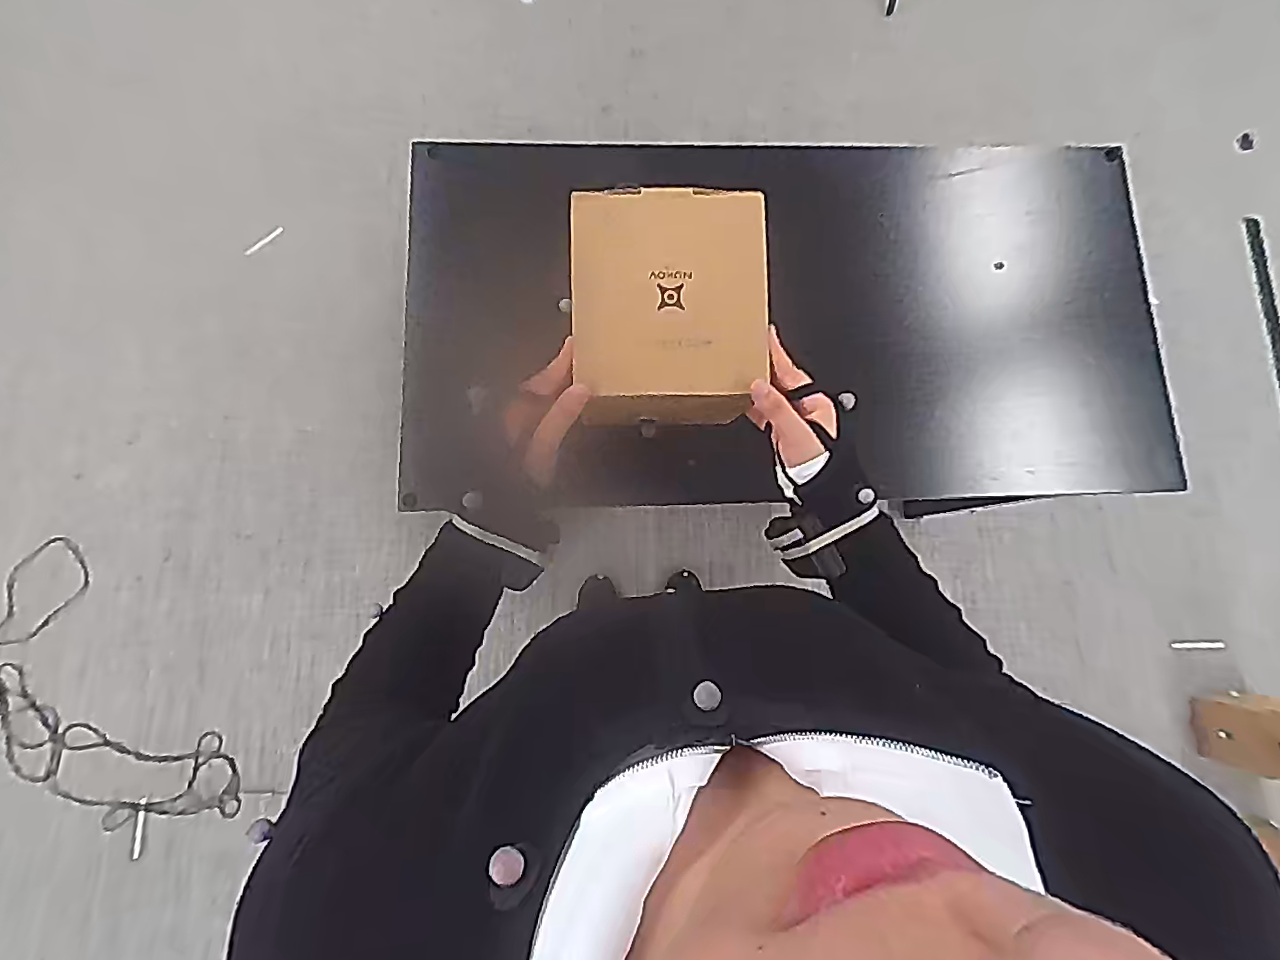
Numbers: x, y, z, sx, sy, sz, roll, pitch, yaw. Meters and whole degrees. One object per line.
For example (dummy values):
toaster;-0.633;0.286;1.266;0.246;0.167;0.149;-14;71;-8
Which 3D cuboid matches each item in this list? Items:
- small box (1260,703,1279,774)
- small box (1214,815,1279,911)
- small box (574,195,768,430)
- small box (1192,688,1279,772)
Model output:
small box;1.642;0.633;1.273;0.179;0.176;0.168;4;81;-2
small box;1.642;0.988;1.388;0.168;0.176;0.179;2;83;-2
small box;0.022;-0.150;0.534;0.168;0.176;0.179;-1;87;-2
small box;1.633;0.657;1.437;0.179;0.176;0.168;-2;81;-2
